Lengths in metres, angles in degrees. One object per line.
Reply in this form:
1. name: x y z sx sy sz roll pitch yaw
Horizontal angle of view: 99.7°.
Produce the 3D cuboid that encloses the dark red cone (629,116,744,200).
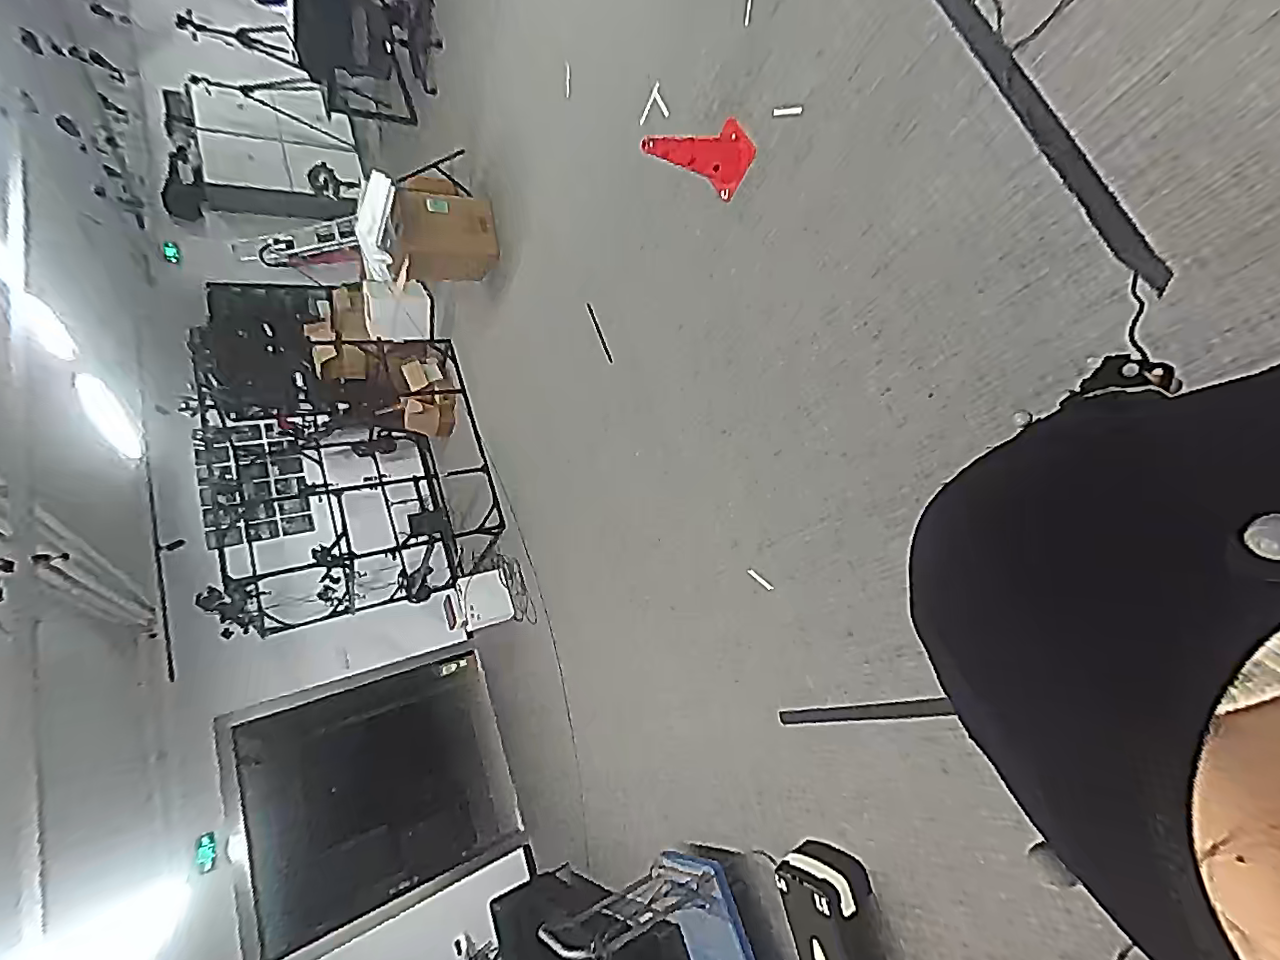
1. dark red cone: 0.137 -1.089 1.786 0.201 0.394 0.202 -53 55 49
